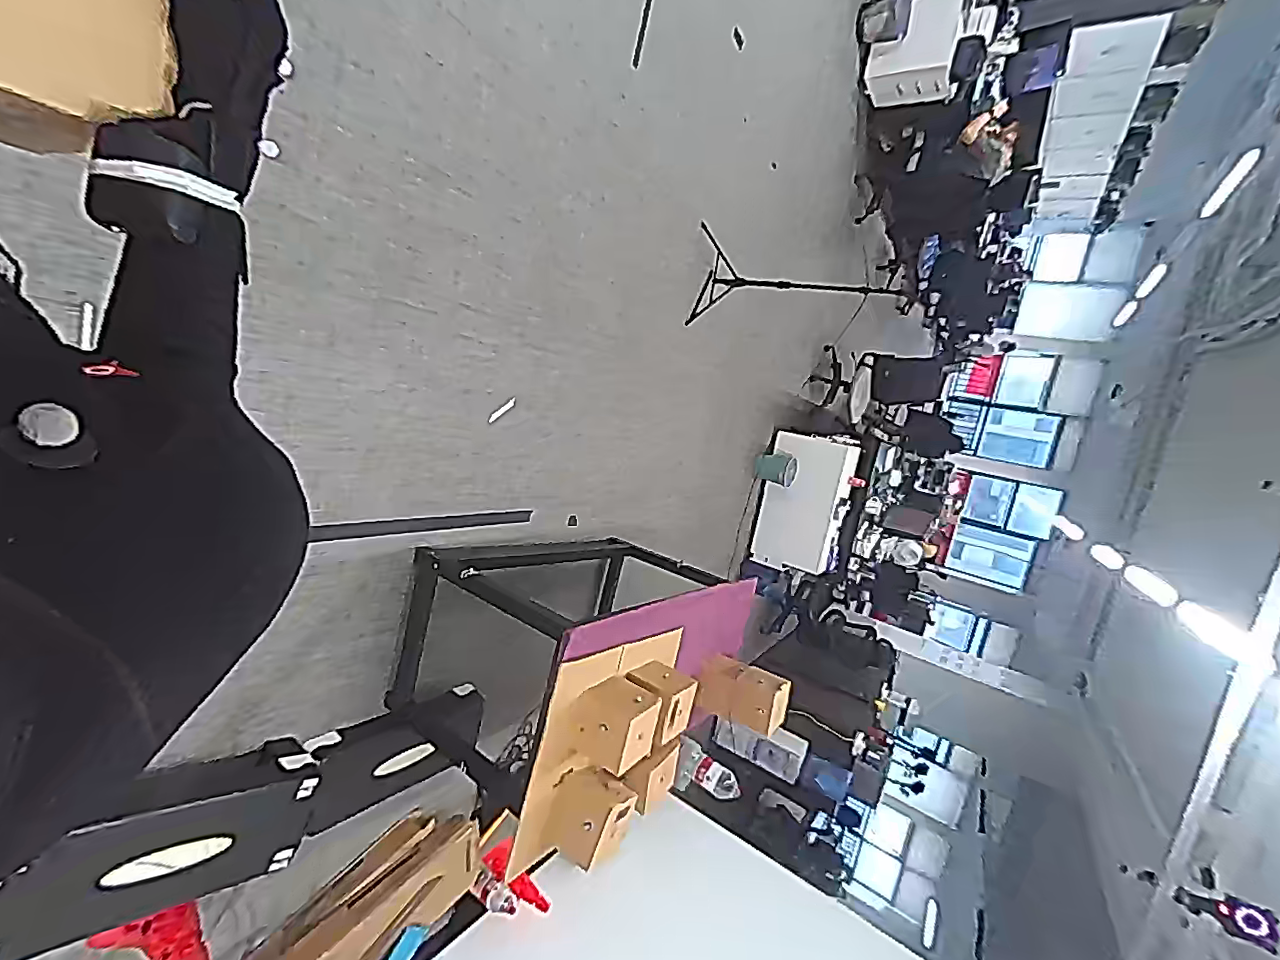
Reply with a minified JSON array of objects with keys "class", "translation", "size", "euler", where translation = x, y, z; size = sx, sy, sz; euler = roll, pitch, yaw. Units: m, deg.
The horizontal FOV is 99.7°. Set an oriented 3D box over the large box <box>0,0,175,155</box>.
[{"class":"large box","translation":[-0.533,-0.409,0.261],"size":[0.408,0.320,0.320],"euler":[-5,111,-60]}]
